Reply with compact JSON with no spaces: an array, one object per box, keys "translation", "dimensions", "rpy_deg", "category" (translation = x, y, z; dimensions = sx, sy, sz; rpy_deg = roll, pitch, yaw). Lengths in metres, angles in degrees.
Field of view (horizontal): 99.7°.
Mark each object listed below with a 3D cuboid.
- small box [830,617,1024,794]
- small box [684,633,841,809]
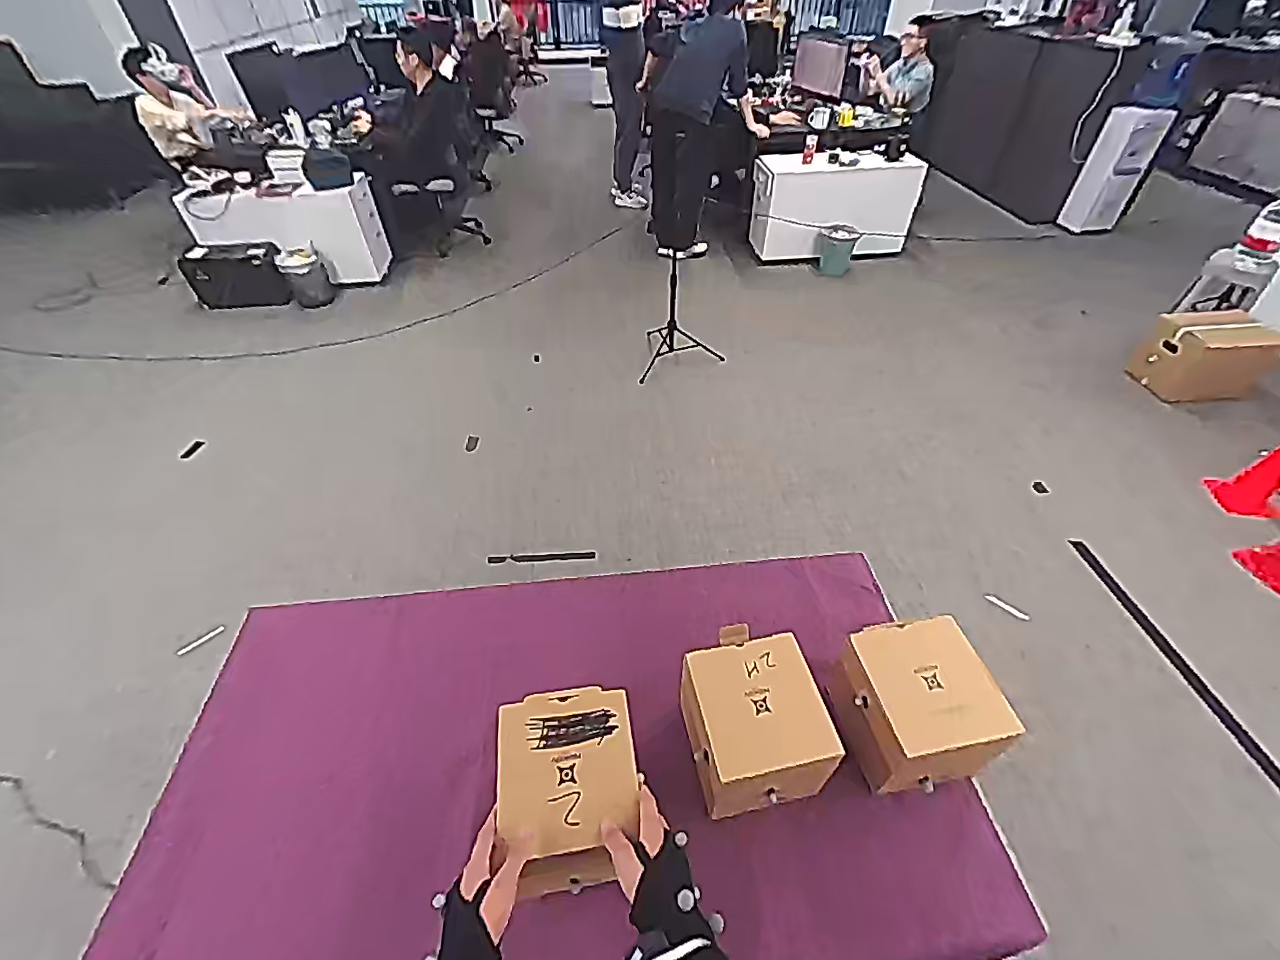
[{"translation":[0.401,0.331,0.797],"dimensions":[0.168,0.176,0.179],"rpy_deg":[-8,45,-5],"category":"small box"},{"translation":[0.162,0.353,0.782],"dimensions":[0.168,0.176,0.179],"rpy_deg":[-9,45,-7],"category":"small box"}]
